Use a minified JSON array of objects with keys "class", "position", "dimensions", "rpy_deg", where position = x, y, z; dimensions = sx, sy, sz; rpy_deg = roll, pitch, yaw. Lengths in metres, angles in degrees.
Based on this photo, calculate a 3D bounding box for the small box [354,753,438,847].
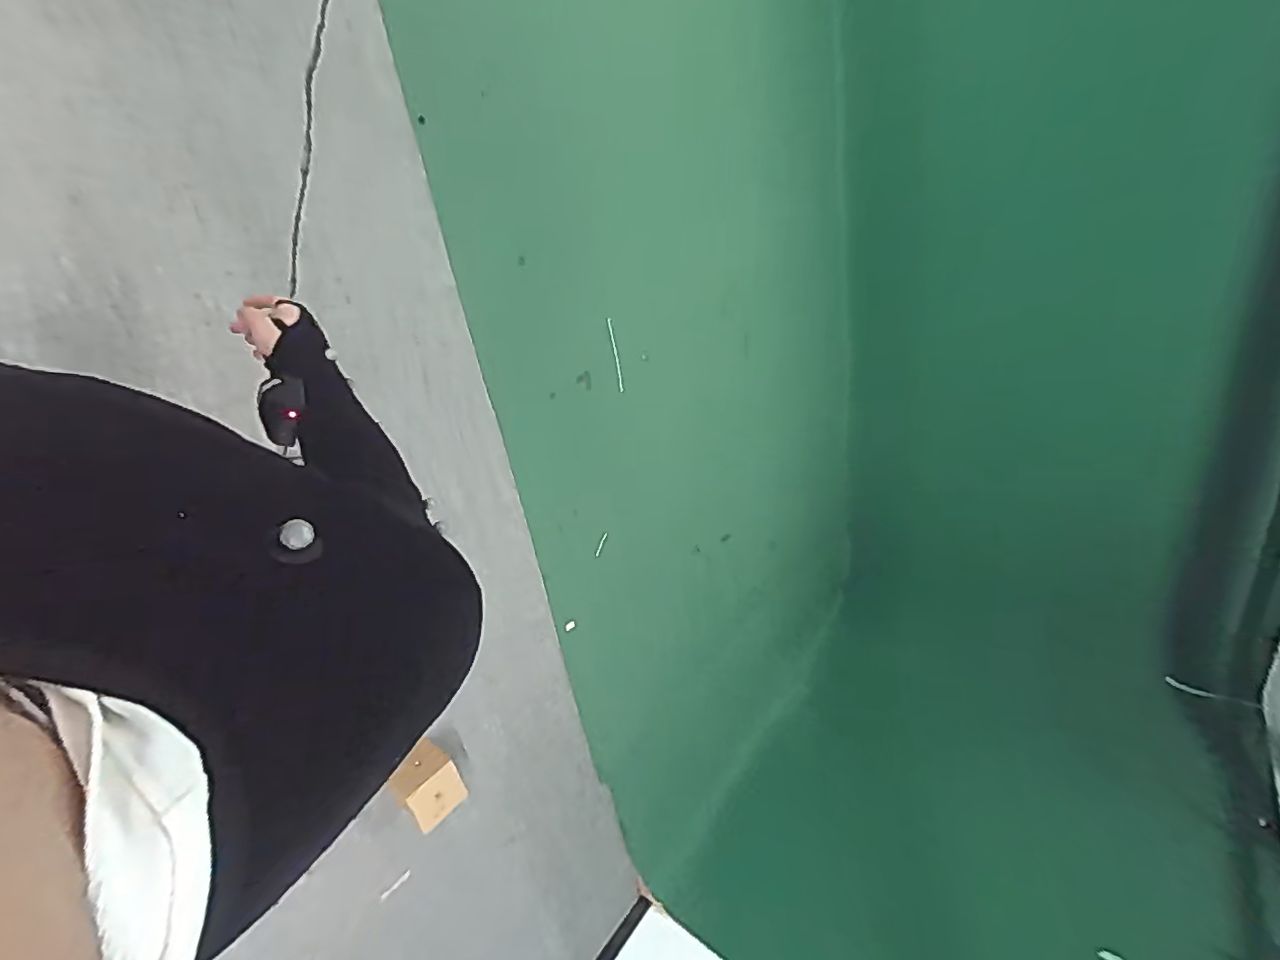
[{"class":"small box","position":[-0.791,1.021,1.748],"dimensions":[0.168,0.176,0.179],"rpy_deg":[-32,122,-42]}]
